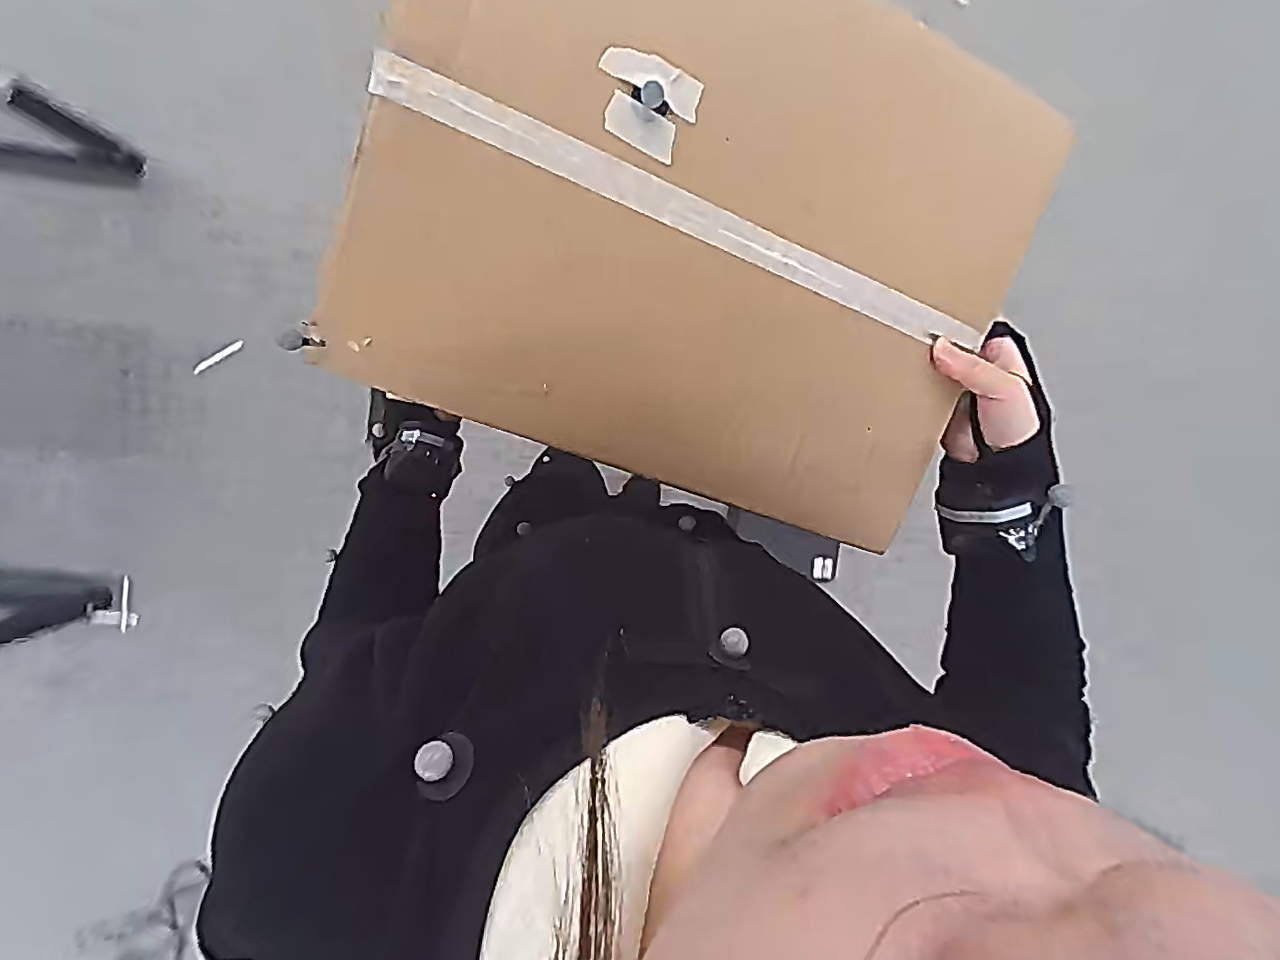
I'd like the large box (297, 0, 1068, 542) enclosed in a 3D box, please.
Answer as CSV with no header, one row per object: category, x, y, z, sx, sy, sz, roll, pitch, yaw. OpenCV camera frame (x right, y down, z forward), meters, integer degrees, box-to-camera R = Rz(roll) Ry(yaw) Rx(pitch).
large box,0.016,-0.181,0.464,0.408,0.320,0.320,17,98,-13
